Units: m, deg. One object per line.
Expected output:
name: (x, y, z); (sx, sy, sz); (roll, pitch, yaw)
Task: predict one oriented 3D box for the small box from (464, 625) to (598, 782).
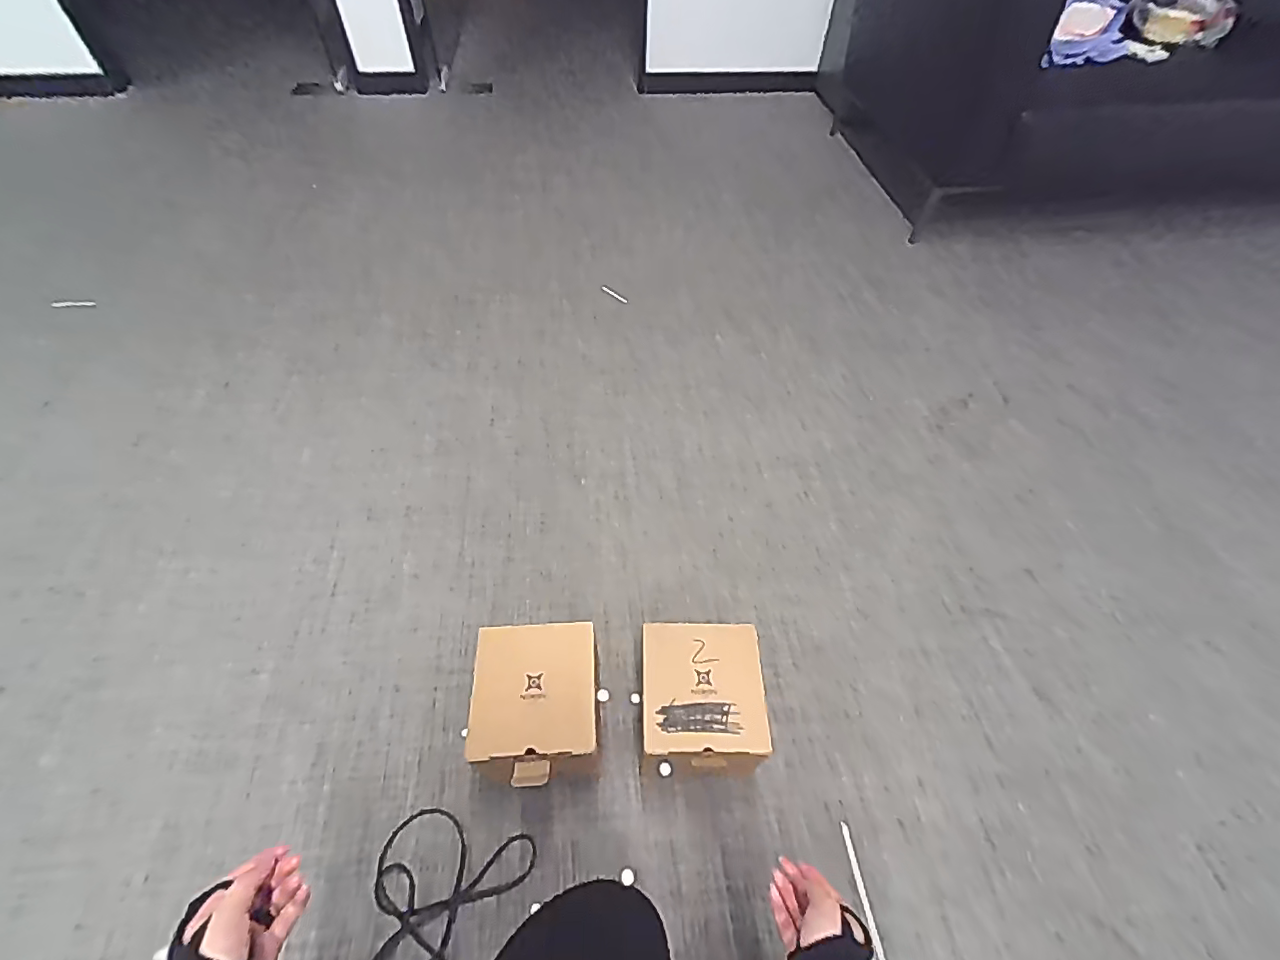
small box: (-0.148, 0.330, 0.796); (0.168, 0.176, 0.179); (-2, 54, -3)
